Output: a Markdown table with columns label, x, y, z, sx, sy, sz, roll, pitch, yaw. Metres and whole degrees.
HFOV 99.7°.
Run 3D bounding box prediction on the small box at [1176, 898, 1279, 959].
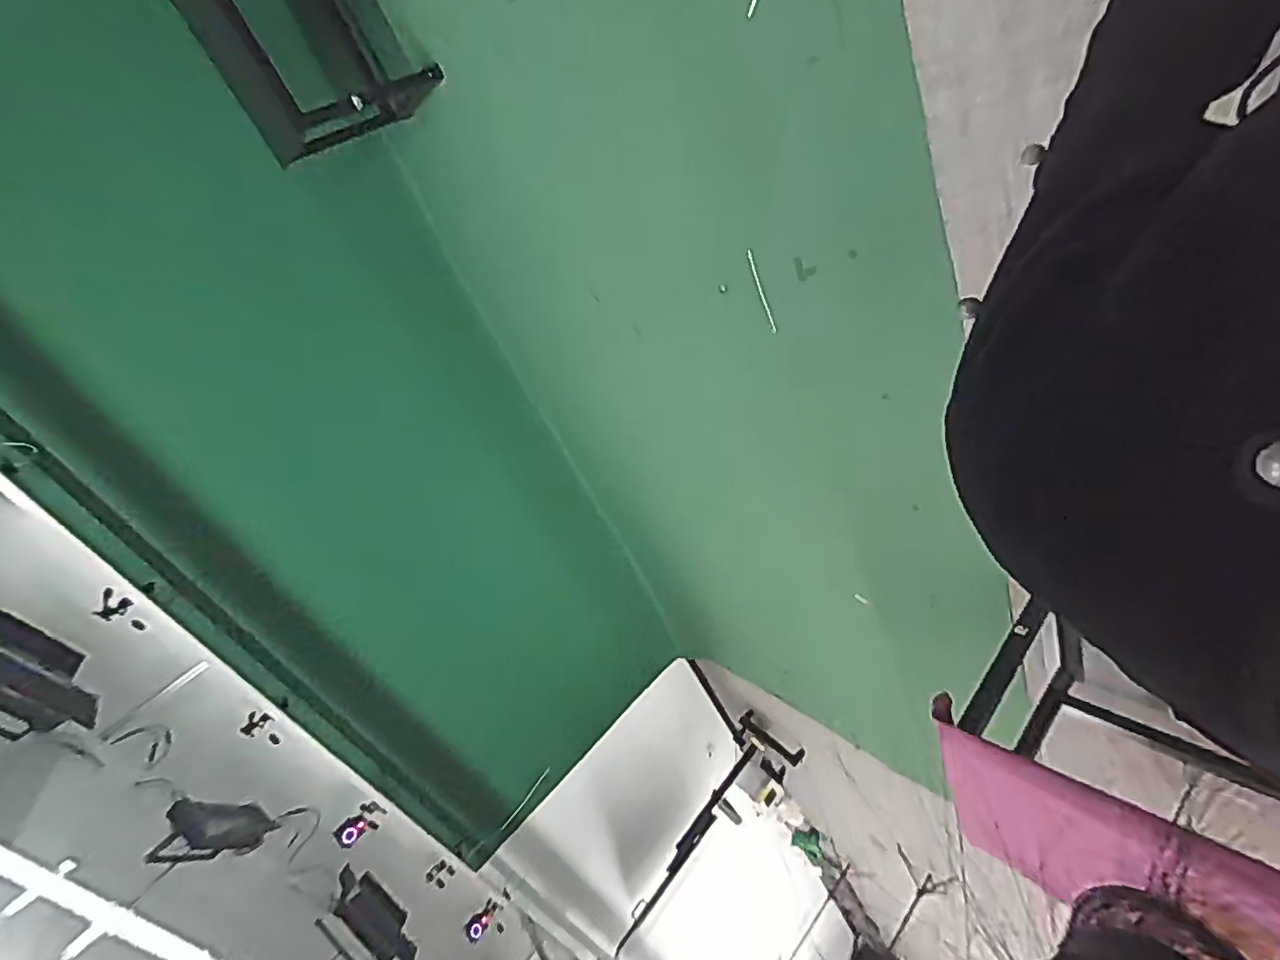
| label | x | y | z | sx | sy | sz | roll | pitch | yaw |
| --- | --- | --- | --- | --- | --- | --- | --- | --- | --- |
| small box | 1.237 | 1.029 | 1.119 | 0.168 | 0.176 | 0.179 | 16 | 140 | 51 |
